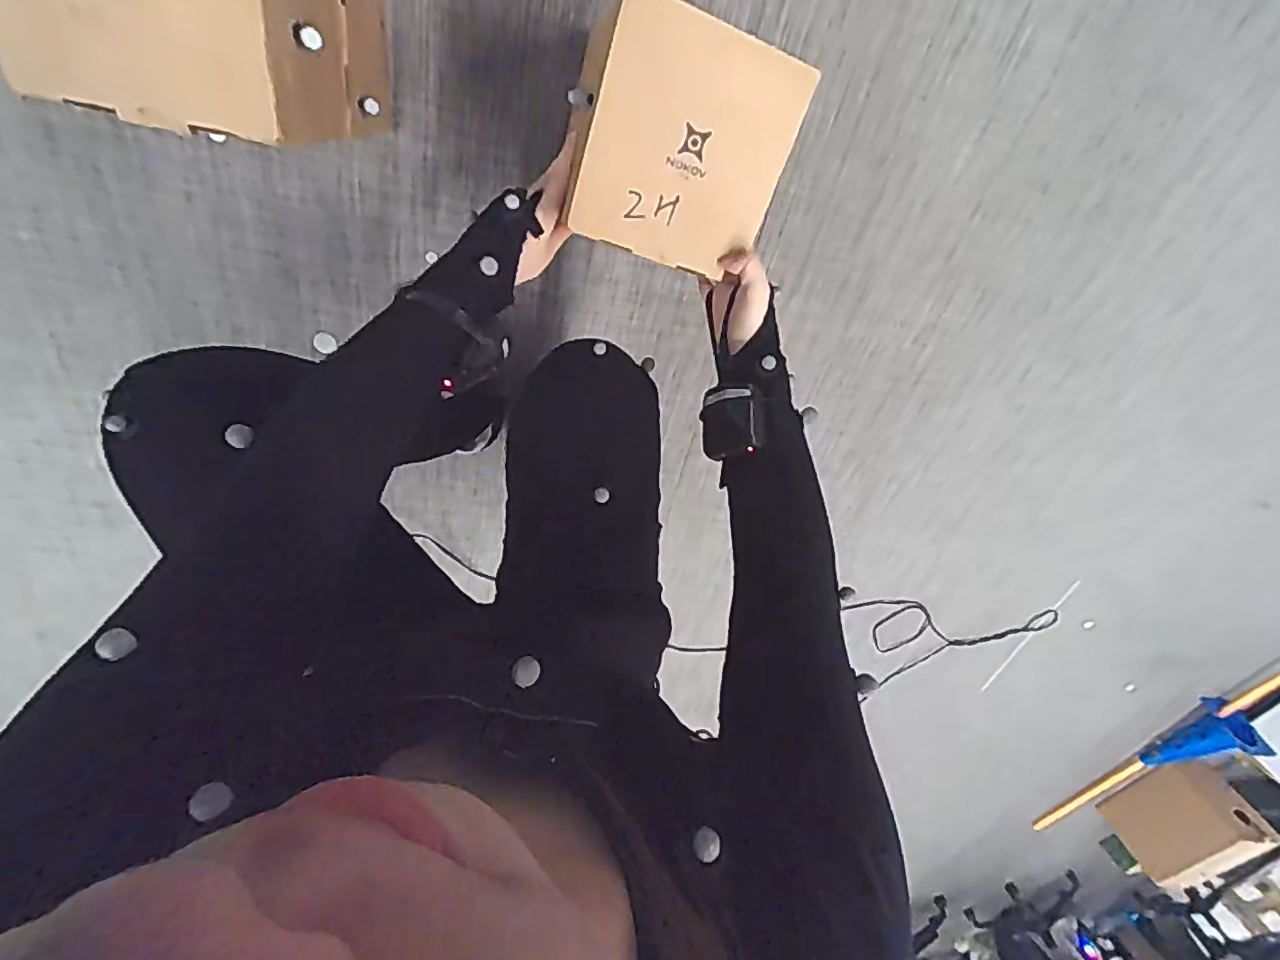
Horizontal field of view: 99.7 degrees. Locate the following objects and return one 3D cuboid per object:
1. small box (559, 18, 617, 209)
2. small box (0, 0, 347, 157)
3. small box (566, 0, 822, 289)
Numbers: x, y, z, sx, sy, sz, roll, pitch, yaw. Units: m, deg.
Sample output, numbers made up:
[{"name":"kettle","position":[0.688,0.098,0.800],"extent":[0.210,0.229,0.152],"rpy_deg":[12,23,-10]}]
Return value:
[{"name":"small box","position":[0.002,-0.402,0.646],"extent":[0.168,0.176,0.179],"rpy_deg":[12,122,-19]},{"name":"small box","position":[-0.333,-0.364,0.401],"extent":[0.168,0.176,0.179],"rpy_deg":[4,124,-14]},{"name":"small box","position":[0.030,-0.309,0.511],"extent":[0.168,0.176,0.179],"rpy_deg":[11,120,-18]}]
